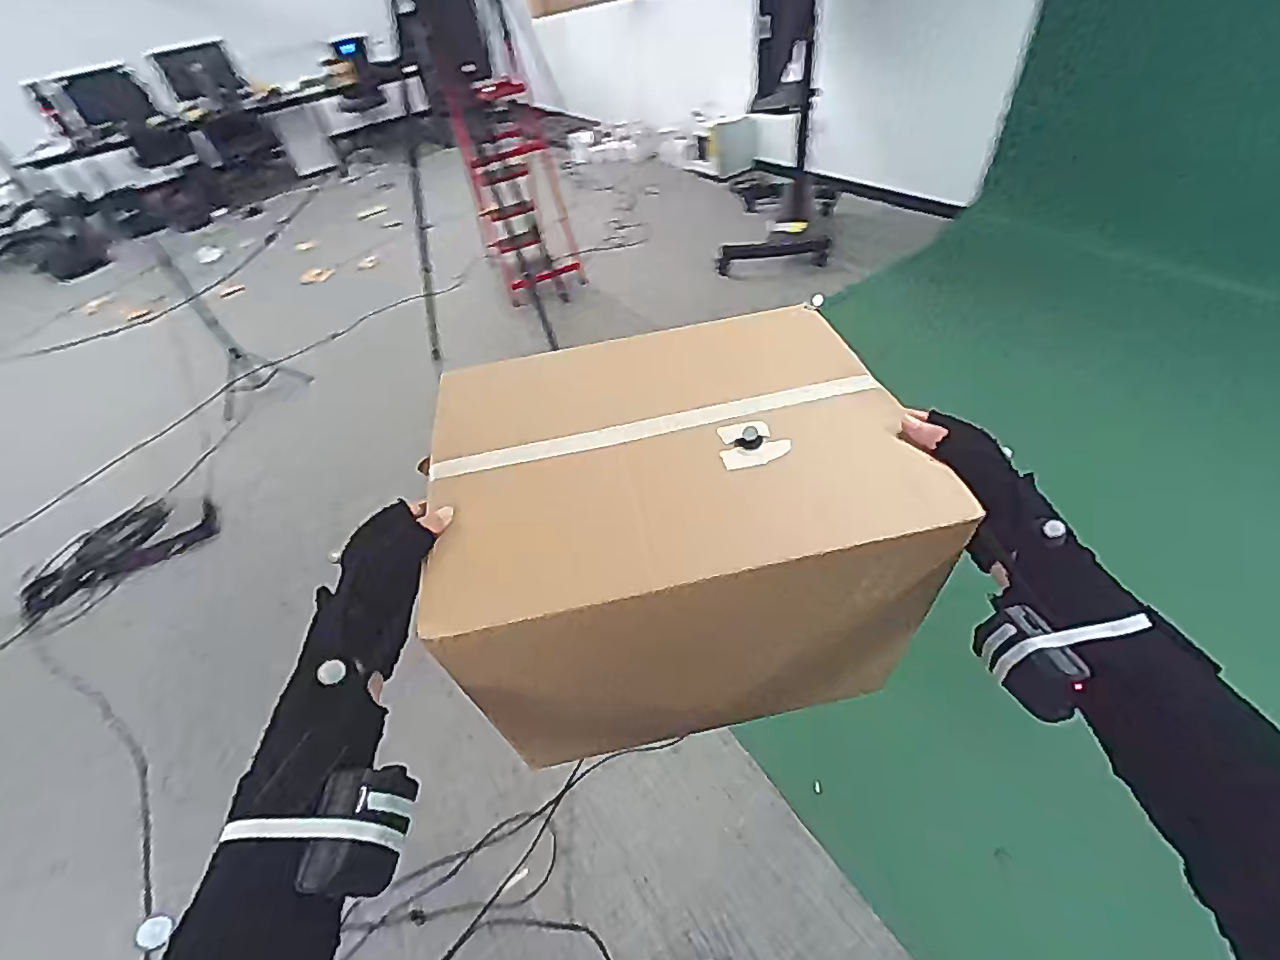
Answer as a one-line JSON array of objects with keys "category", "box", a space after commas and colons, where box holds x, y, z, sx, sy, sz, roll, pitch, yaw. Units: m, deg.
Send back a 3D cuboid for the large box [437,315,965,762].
[{"category": "large box", "box": [0.035, 0.063, 0.595, 0.408, 0.320, 0.320, -11, 48, -3]}]
